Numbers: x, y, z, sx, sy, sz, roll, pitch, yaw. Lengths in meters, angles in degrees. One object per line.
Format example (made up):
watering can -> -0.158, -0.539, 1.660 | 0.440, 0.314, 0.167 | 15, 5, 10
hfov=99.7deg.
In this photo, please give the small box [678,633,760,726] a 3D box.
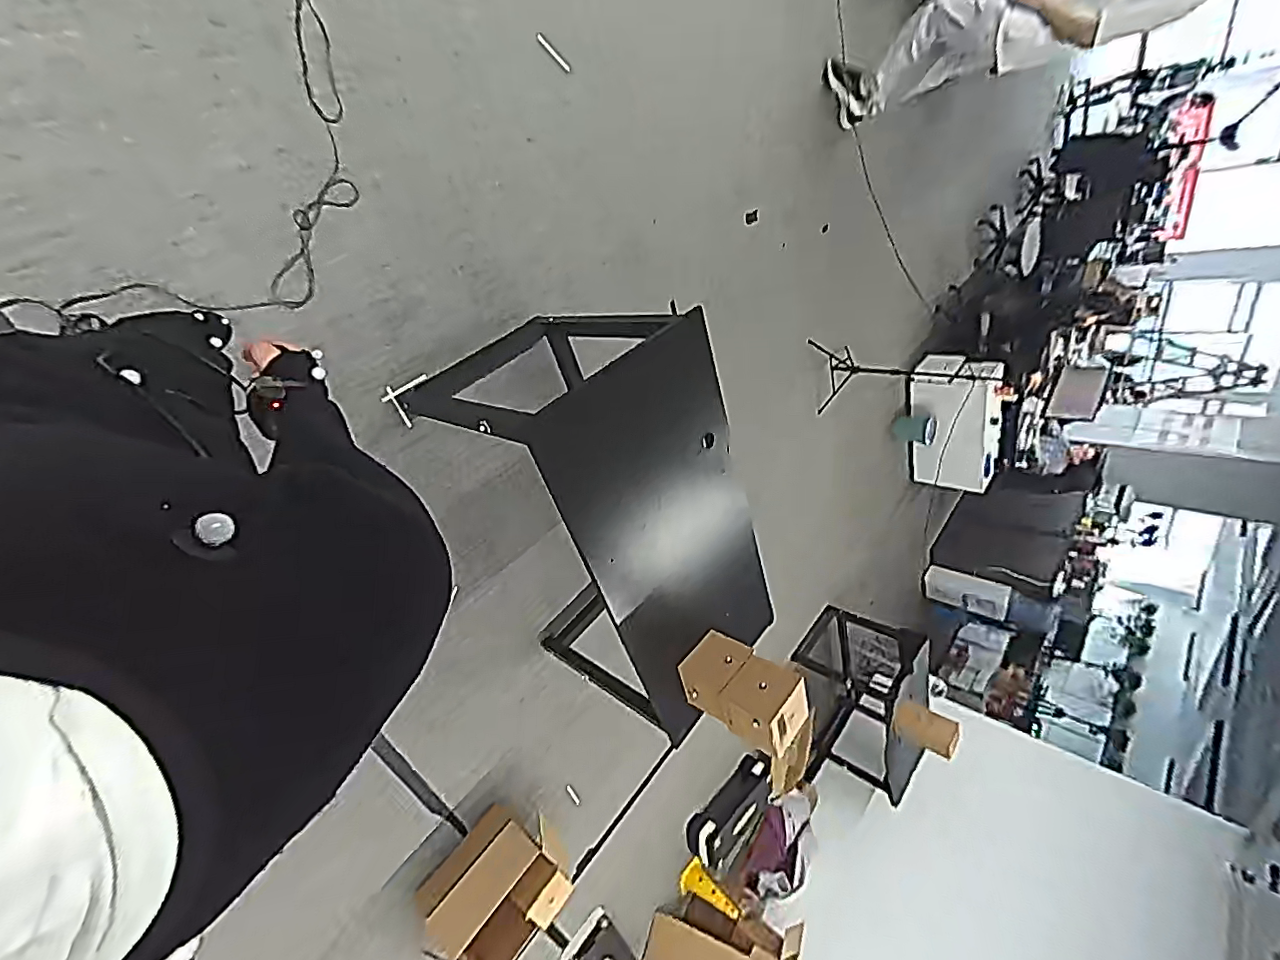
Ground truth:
small box -> 0.243, 0.603, 1.656 | 0.179, 0.176, 0.168 | -37, 124, -34
